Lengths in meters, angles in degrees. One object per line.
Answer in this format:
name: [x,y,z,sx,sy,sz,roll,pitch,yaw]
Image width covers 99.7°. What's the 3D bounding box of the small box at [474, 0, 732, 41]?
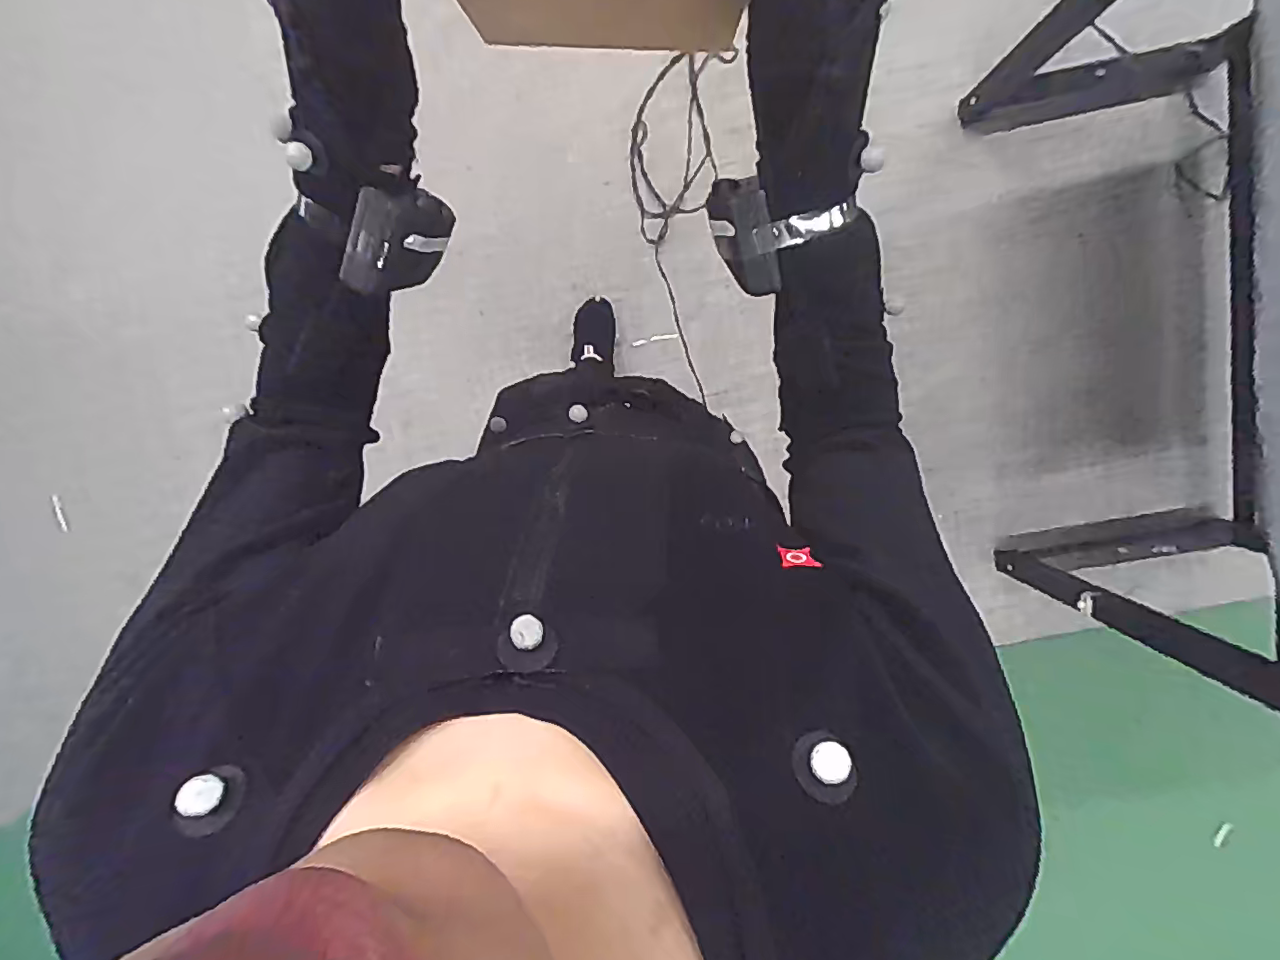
small box: [-0.023,-0.358,0.276,0.179,0.176,0.168,2,110,-1]
